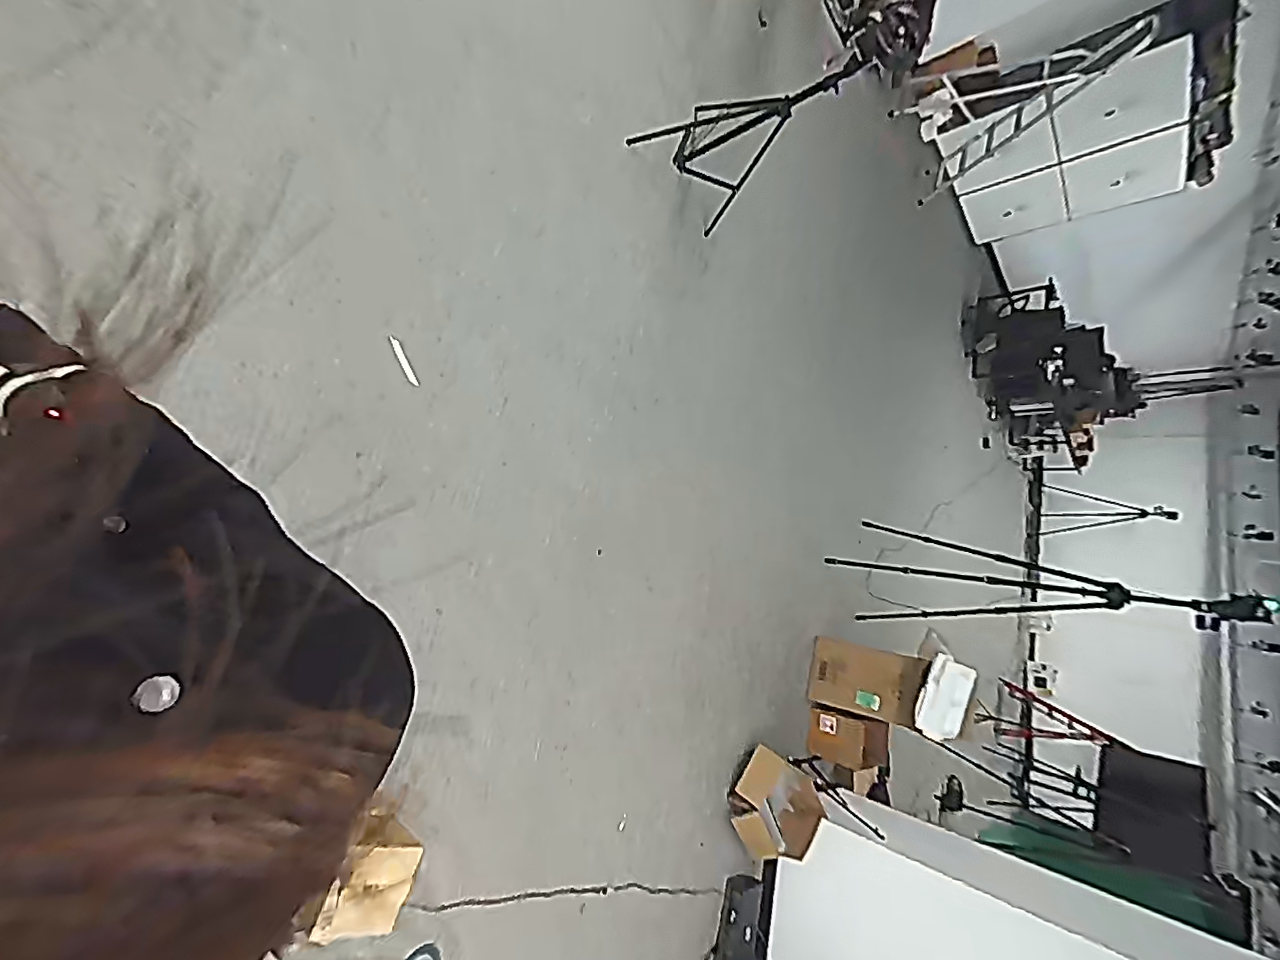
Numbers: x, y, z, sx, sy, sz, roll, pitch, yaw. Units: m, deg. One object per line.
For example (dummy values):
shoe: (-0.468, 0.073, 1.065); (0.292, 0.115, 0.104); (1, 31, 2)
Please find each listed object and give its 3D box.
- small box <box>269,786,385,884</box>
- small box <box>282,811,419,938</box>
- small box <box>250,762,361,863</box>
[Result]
small box: (-0.740, 0.839, 1.274); (0.168, 0.176, 0.179); (28, 70, -43)
small box: (-0.621, 0.836, 1.161); (0.179, 0.176, 0.168); (37, 63, -41)
small box: (-0.857, 0.840, 1.386); (0.179, 0.176, 0.168); (26, 71, -43)
